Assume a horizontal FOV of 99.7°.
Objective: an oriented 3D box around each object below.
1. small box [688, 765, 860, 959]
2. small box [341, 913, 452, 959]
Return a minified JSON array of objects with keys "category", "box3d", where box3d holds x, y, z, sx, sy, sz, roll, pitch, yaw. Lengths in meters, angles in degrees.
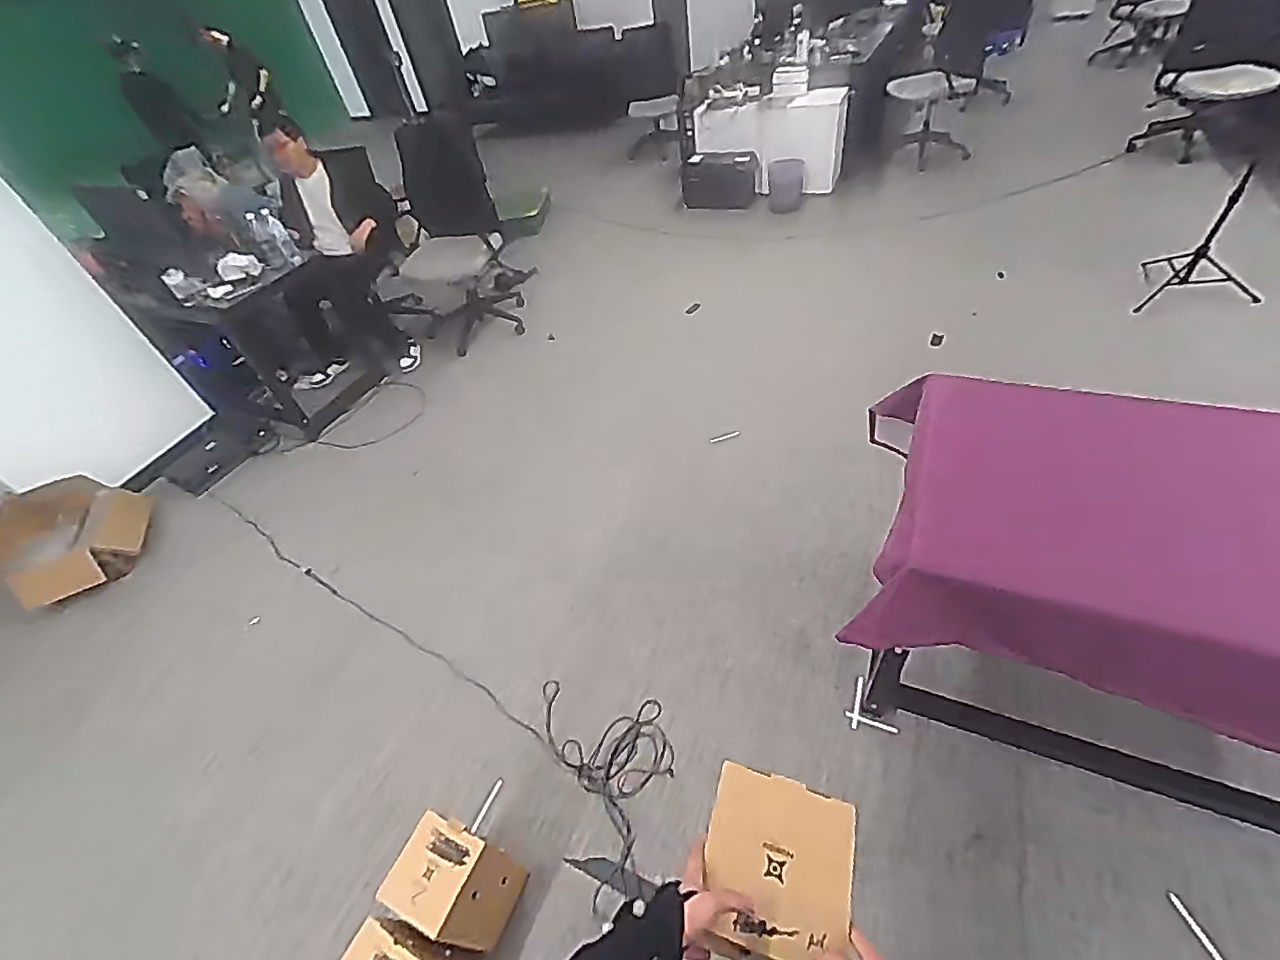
[{"category":"small box","box3d":[0.158,0.493,0.664,0.168,0.176,0.179,13,47,16]},{"category":"small box","box3d":[-0.493,1.002,1.063,0.168,0.176,0.179,17,55,27]}]
